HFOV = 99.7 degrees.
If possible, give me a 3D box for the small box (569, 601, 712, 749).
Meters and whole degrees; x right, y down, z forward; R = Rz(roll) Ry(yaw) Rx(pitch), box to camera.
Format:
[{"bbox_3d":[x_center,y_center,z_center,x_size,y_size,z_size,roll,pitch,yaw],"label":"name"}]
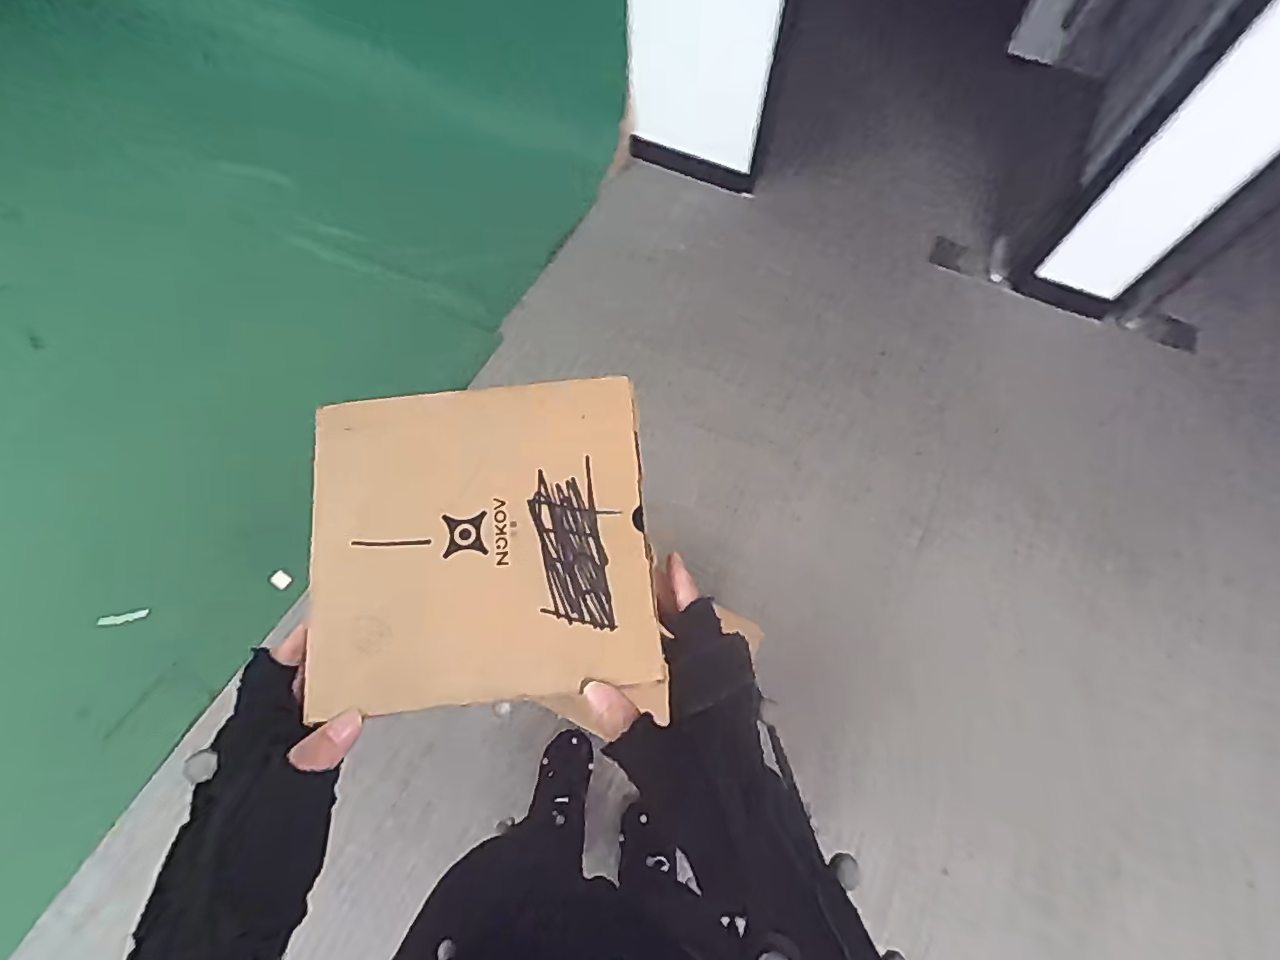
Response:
[{"bbox_3d":[0.002,0.332,0.921,0.179,0.176,0.168,26,71,11],"label":"small box"}]
